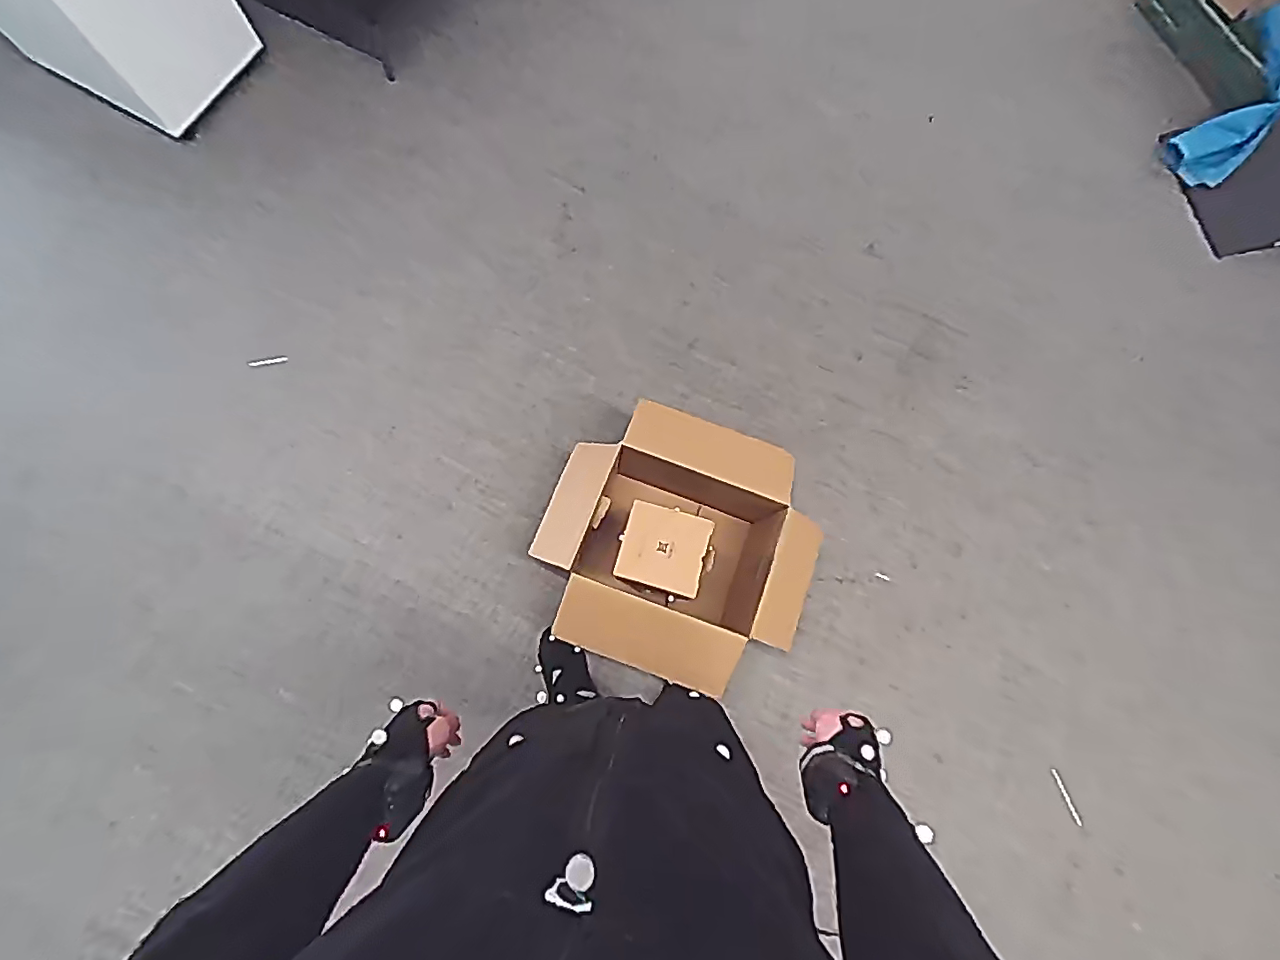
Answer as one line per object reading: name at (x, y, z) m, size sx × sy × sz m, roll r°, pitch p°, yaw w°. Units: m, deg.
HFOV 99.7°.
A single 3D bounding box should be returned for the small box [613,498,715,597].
small box at (0.051, 0.155, 1.186) m, size 0.179 × 0.176 × 0.168 m, roll 16°, pitch 75°, yaw 5°
